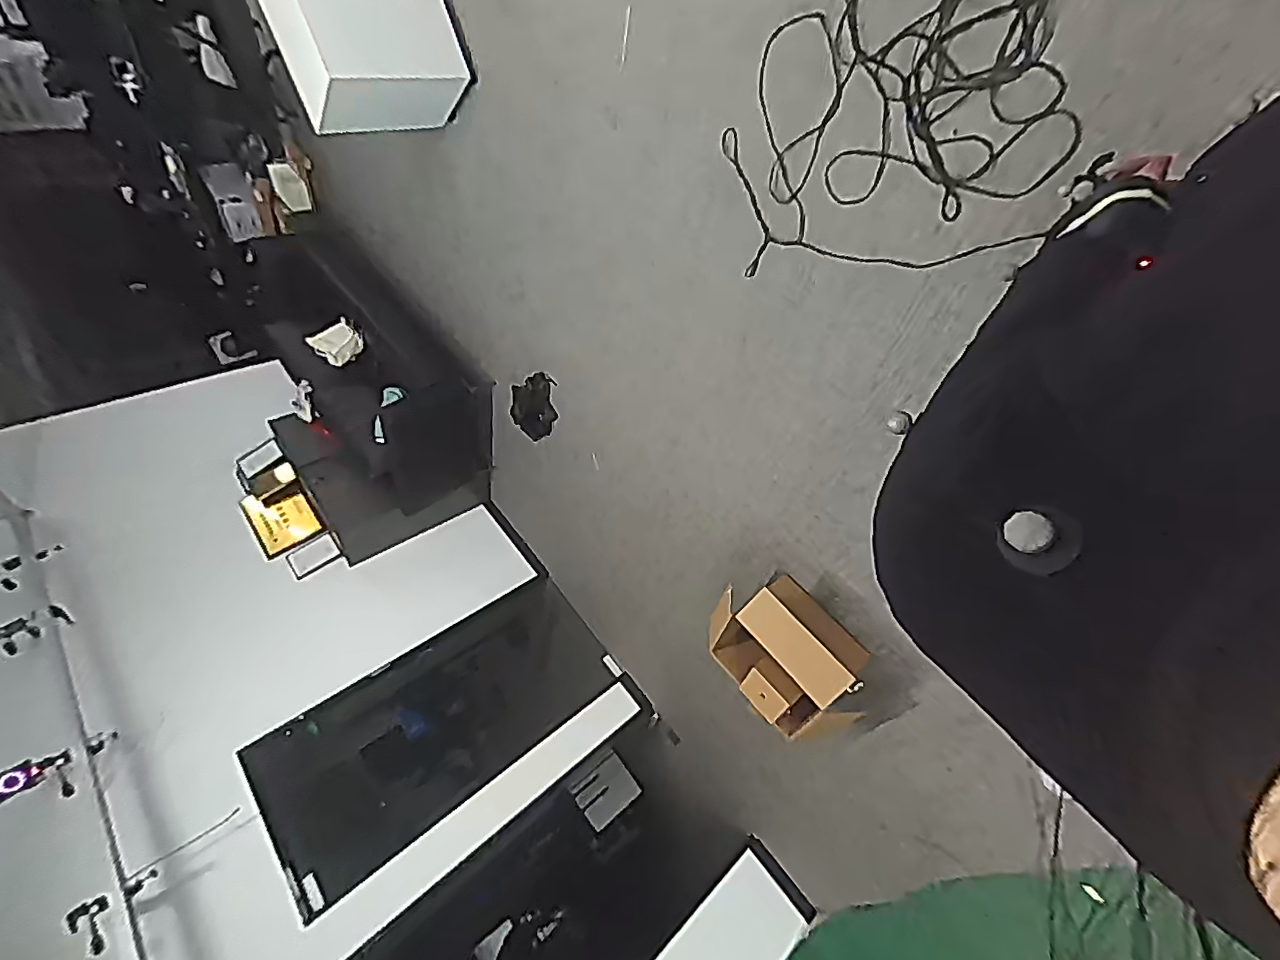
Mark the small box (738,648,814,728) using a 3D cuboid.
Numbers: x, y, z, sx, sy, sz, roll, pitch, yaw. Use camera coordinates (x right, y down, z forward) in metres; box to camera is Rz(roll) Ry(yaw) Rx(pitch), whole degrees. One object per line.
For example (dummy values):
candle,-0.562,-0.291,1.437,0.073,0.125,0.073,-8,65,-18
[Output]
small box,0.482,0.732,1.910,0.168,0.176,0.179,45,141,27
